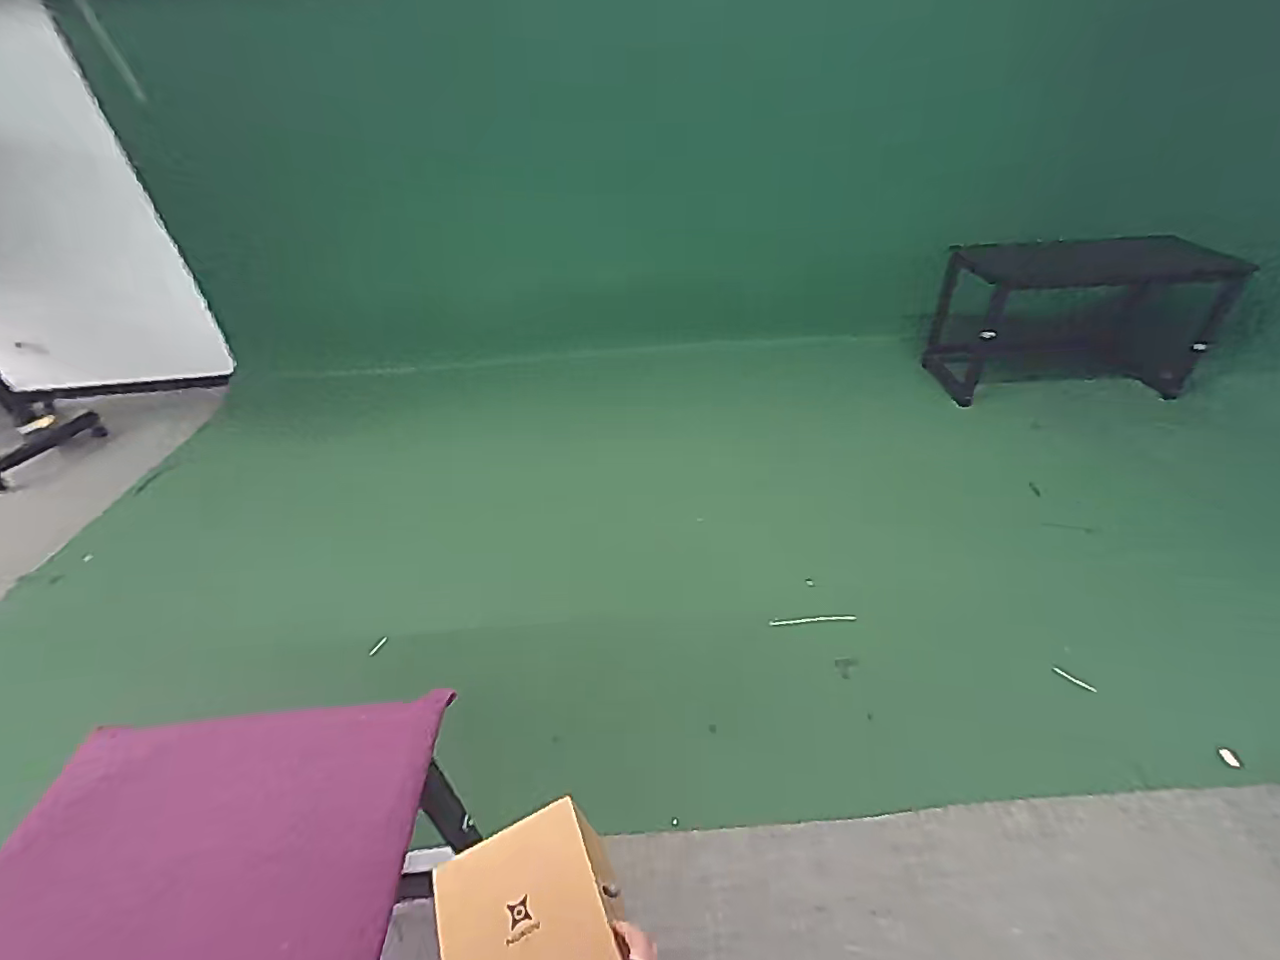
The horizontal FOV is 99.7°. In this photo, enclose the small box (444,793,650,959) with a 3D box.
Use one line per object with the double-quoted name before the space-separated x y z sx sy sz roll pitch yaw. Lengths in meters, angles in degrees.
"small box" -0.095 0.494 0.591 0.168 0.176 0.179 -23 41 -12
